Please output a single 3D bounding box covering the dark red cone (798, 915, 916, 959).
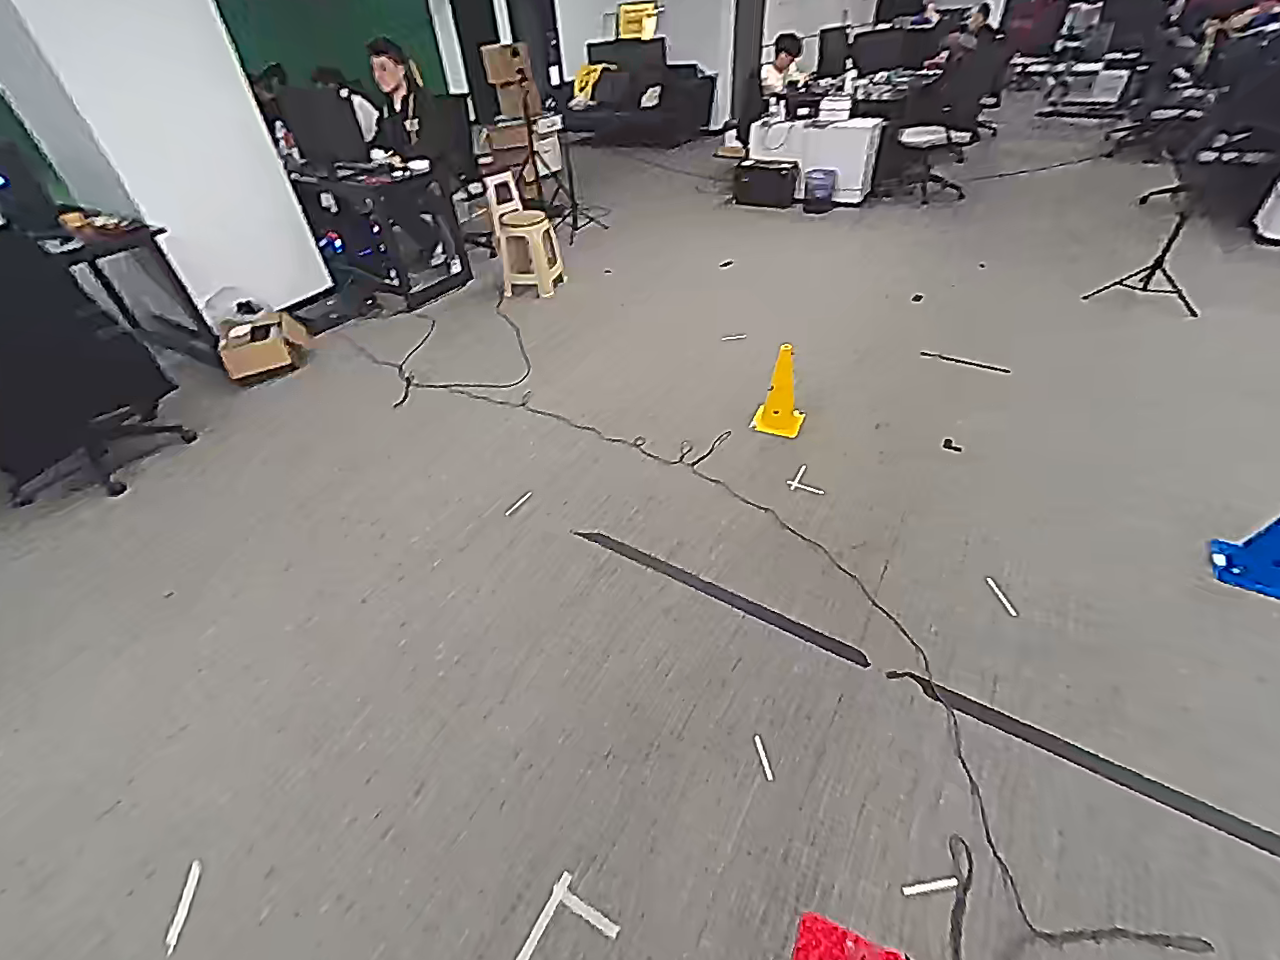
[{"bbox_3d":[0.364,0.791,0.842,0.202,0.394,0.201,14,43,21],"label":"dark red cone"}]

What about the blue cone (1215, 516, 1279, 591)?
[{"bbox_3d":[1.851,0.132,1.514,0.193,0.380,0.192,21,46,26],"label":"blue cone"}]
